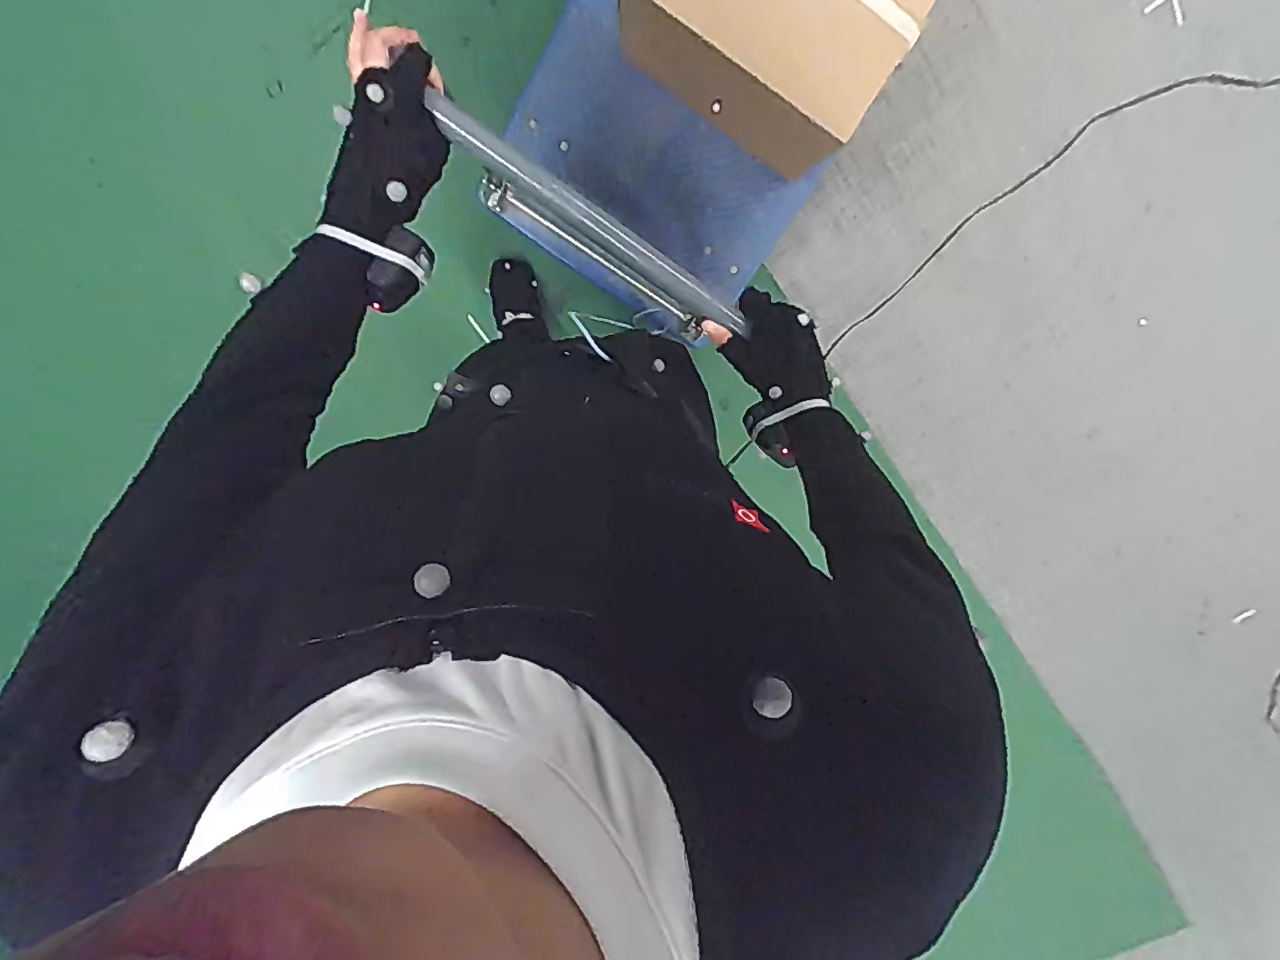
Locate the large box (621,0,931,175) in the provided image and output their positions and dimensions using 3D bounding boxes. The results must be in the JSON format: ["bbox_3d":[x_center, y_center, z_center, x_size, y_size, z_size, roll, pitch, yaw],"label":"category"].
[{"bbox_3d":[0.218,-0.784,0.893,0.408,0.320,0.320,29,106,-10],"label":"large box"}]
